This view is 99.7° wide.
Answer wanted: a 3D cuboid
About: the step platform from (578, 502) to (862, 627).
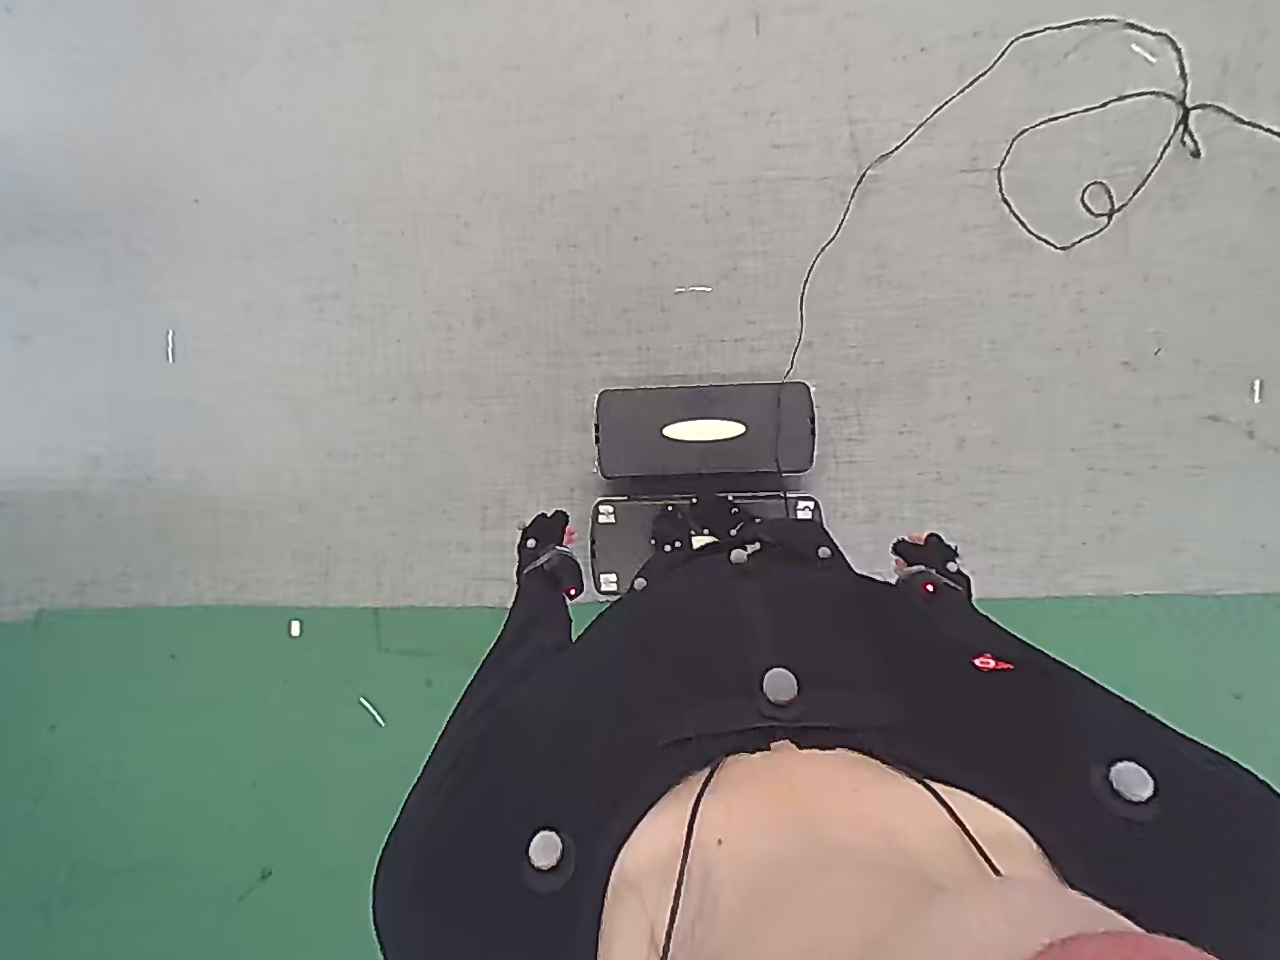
[{"bbox_3d":[0.191,0.208,1.393,0.684,0.204,0.286,-2,88,2],"label":"step platform"}]
